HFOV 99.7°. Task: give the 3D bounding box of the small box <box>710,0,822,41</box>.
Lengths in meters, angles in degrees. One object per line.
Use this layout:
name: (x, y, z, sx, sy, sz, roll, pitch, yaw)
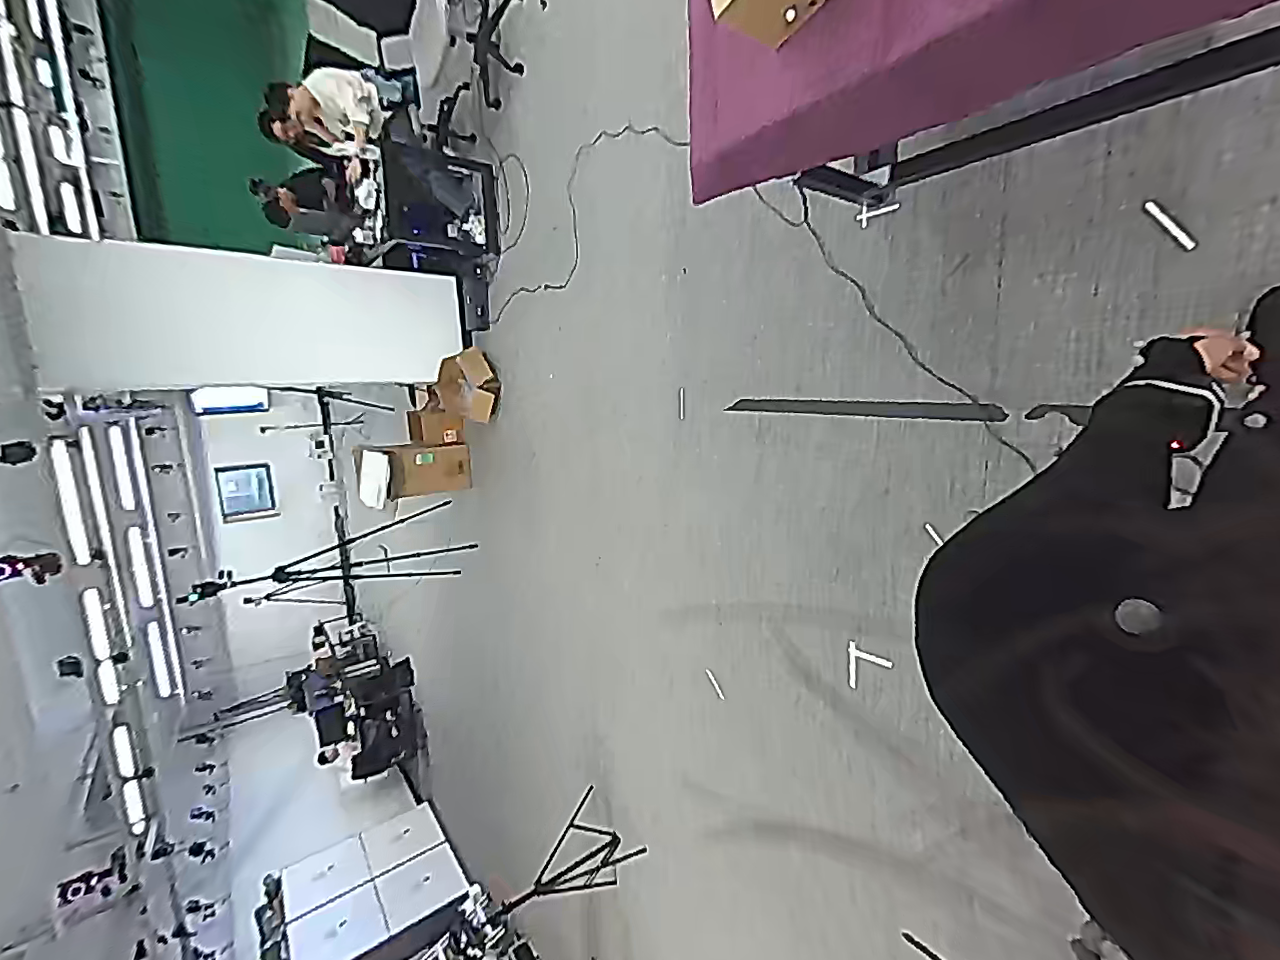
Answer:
small box: (0.226, -0.919, 0.932, 0.168, 0.176, 0.179, -12, 89, 54)
